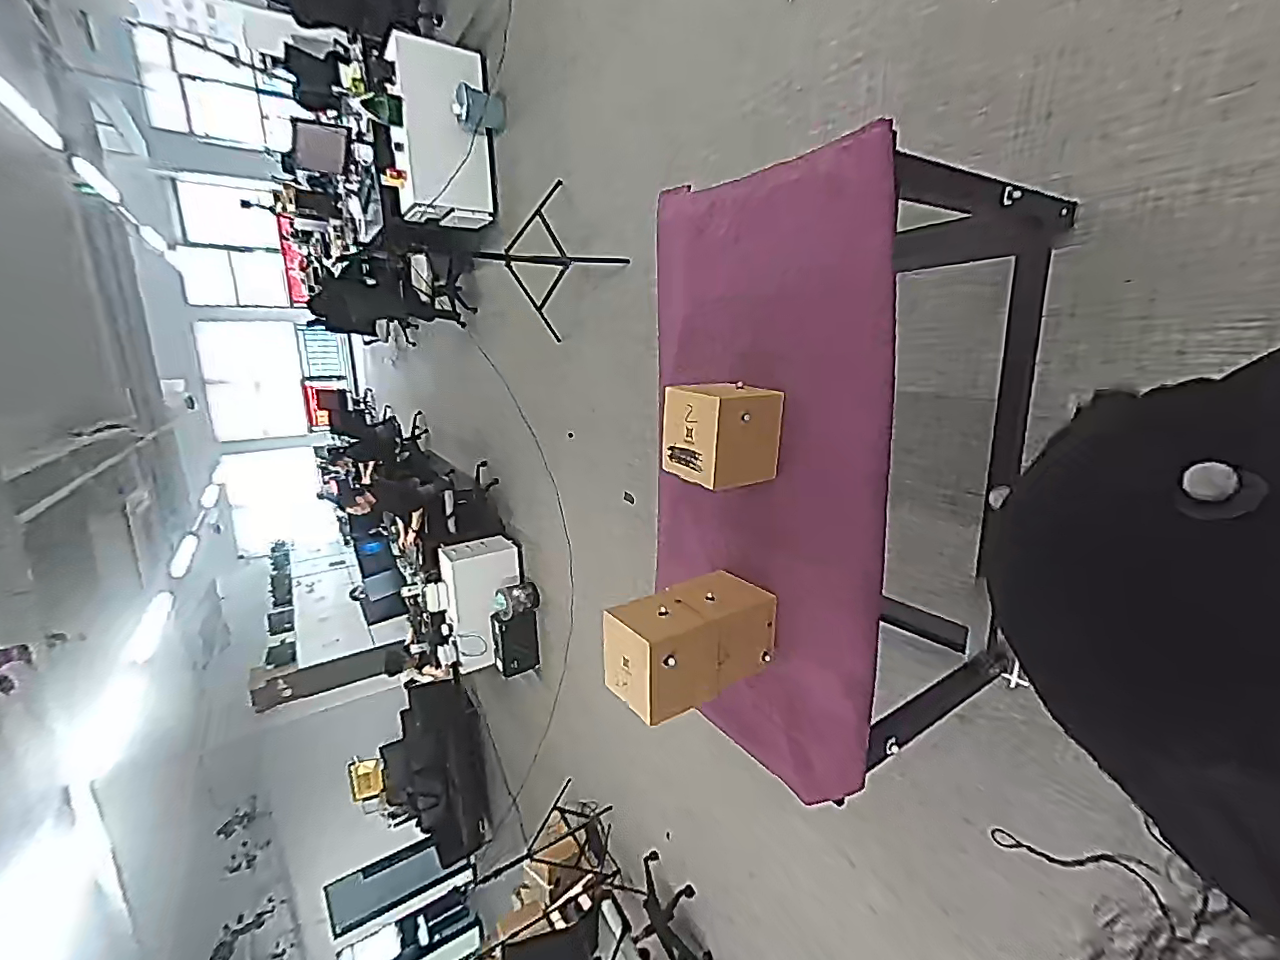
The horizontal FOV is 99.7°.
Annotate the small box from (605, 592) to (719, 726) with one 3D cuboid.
[{"bbox_3d":[0.044,0.344,1.084,0.168,0.176,0.179,18,113,54],"label":"small box"}]

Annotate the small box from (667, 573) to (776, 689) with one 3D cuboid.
[{"bbox_3d":[0.176,0.316,1.178,0.179,0.176,0.168,20,114,54],"label":"small box"}]
